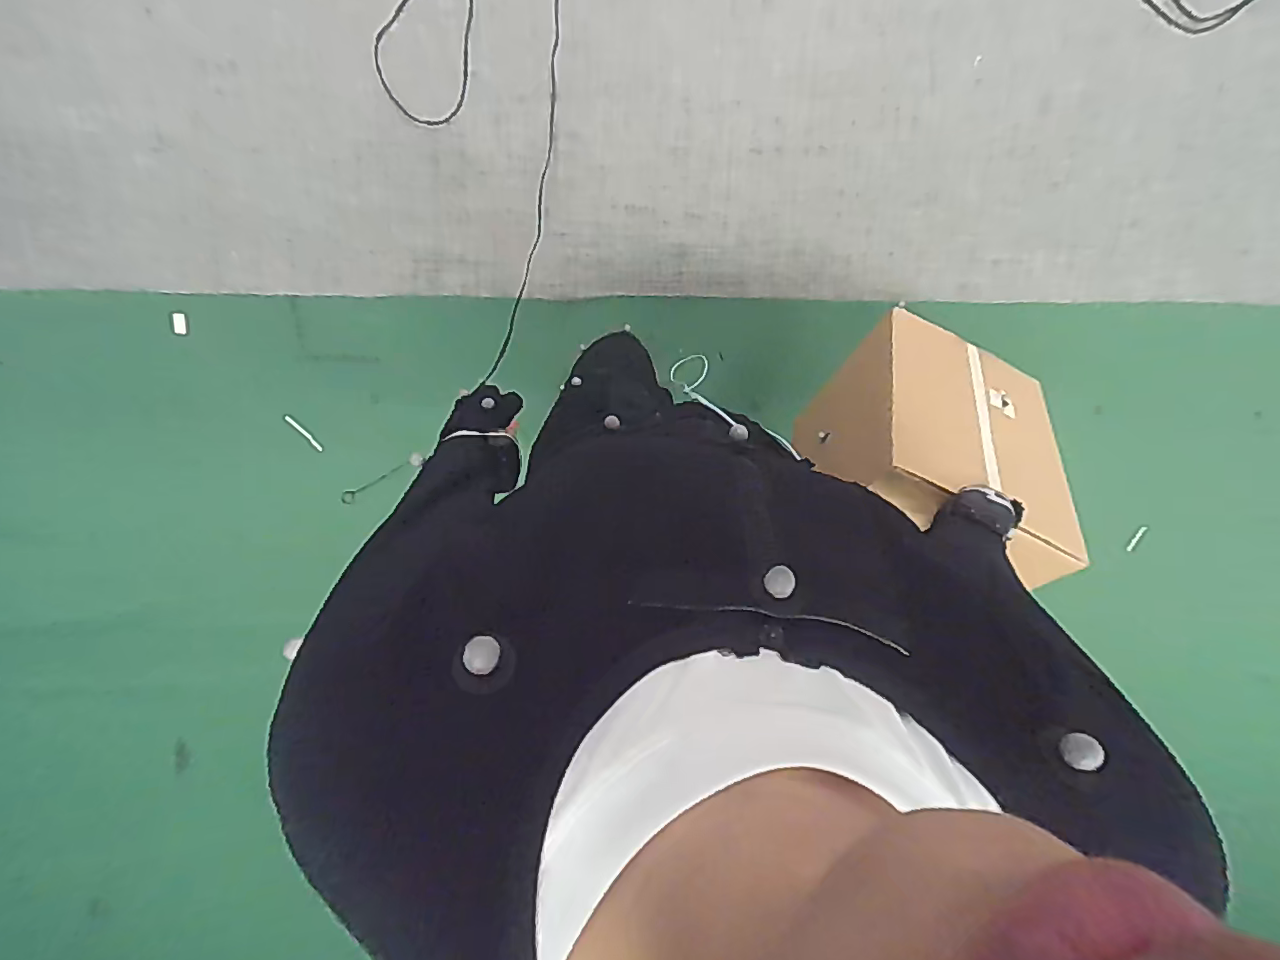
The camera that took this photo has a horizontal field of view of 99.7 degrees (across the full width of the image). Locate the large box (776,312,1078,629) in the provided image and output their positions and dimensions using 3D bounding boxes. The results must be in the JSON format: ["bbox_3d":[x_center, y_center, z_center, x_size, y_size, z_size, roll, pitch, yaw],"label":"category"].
[{"bbox_3d":[0.473,-0.013,0.967,0.320,0.408,0.320,27,141,-5],"label":"large box"}]
